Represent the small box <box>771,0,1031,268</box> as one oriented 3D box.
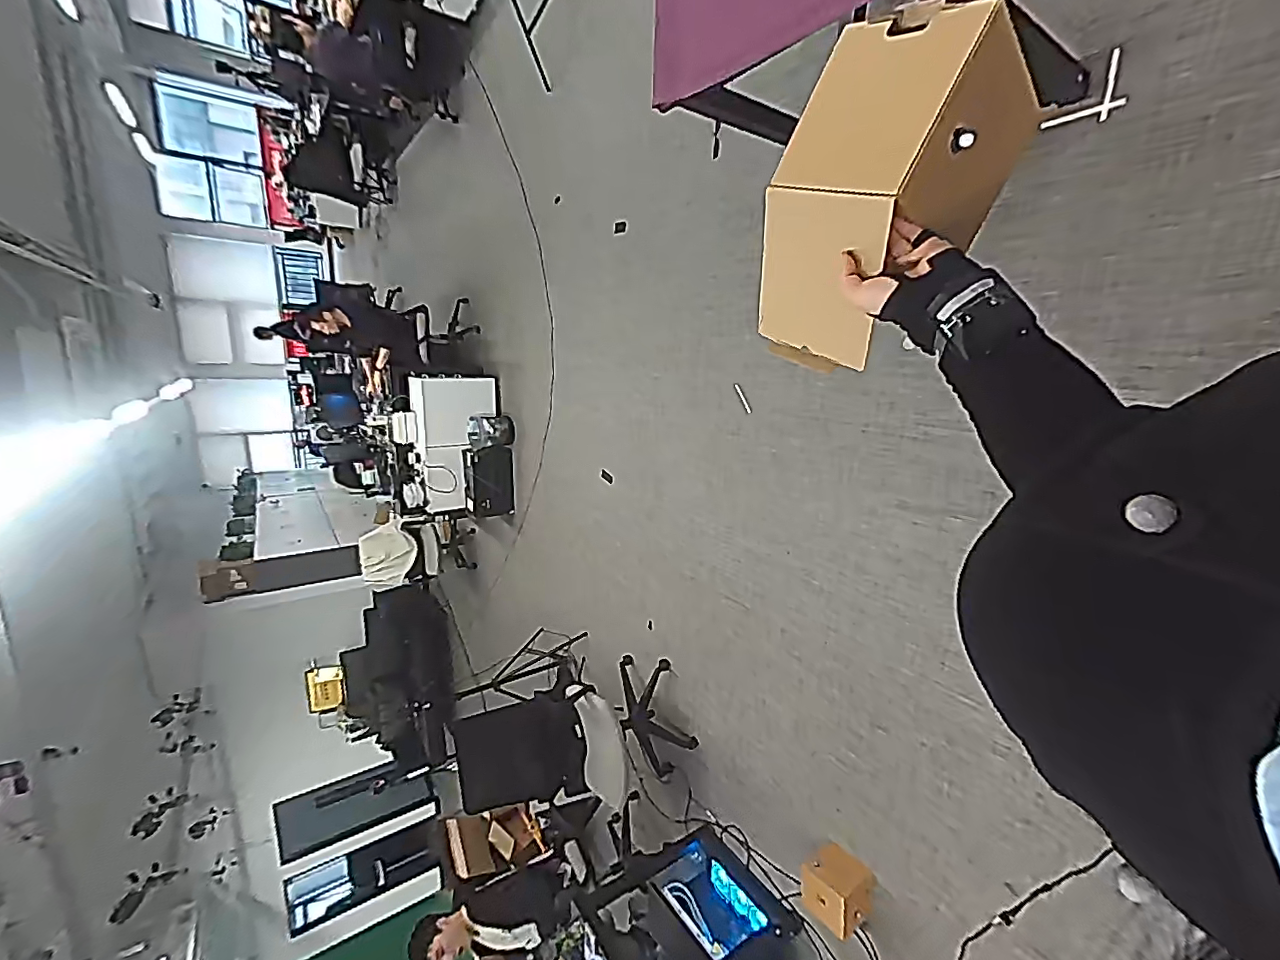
[{"bbox_3d":[0.285,-0.357,0.591,0.168,0.176,0.179,39,107,45],"label":"small box"}]
